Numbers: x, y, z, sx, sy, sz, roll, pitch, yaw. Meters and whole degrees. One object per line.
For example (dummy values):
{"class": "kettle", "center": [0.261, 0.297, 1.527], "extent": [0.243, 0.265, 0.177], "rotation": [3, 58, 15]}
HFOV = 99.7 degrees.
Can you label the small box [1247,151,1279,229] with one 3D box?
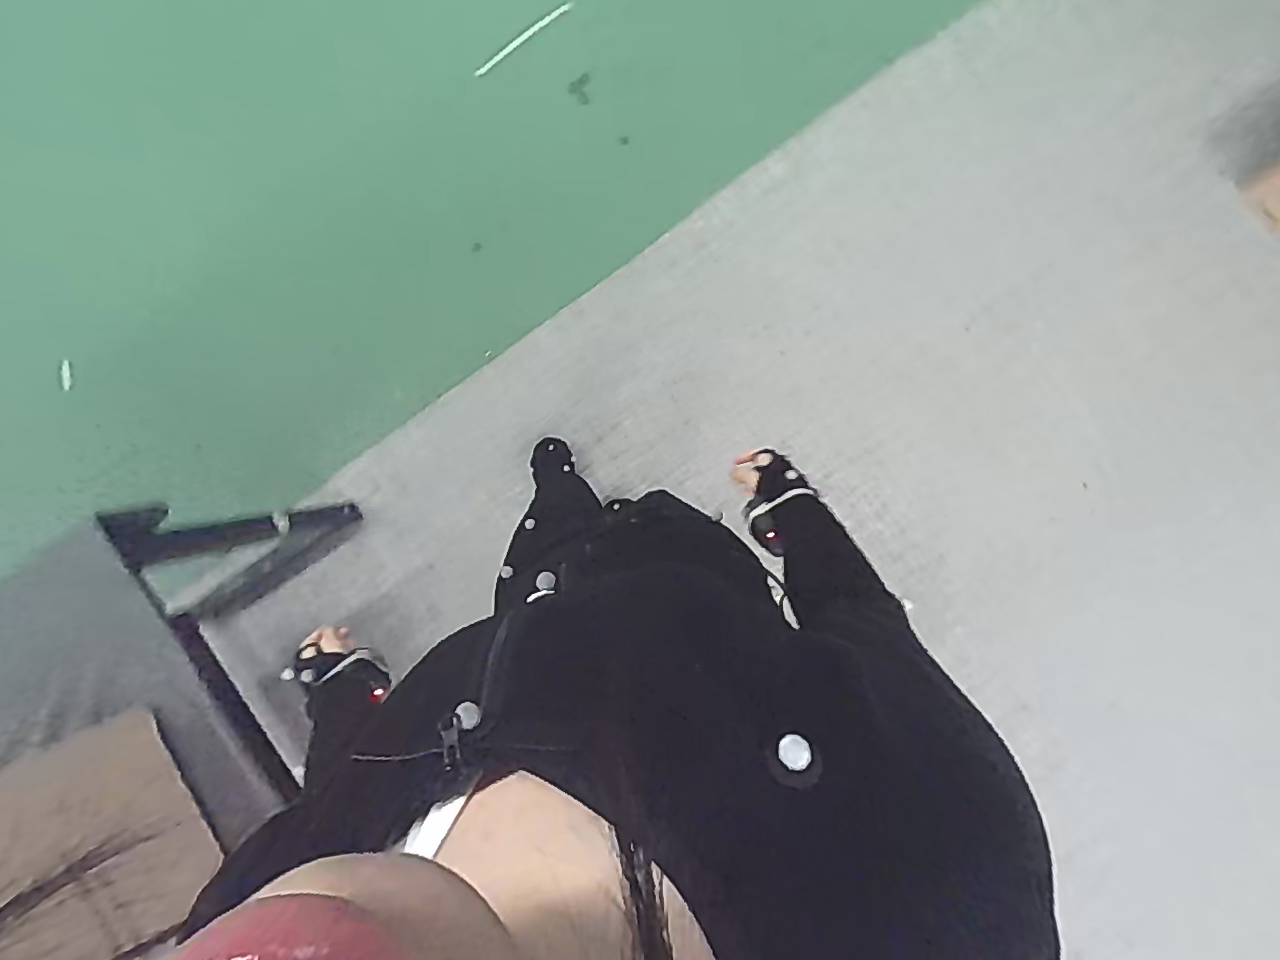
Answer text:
{"class": "small box", "center": [1.655, -0.750, 1.310], "extent": [0.179, 0.176, 0.168], "rotation": [-42, 90, 4]}
